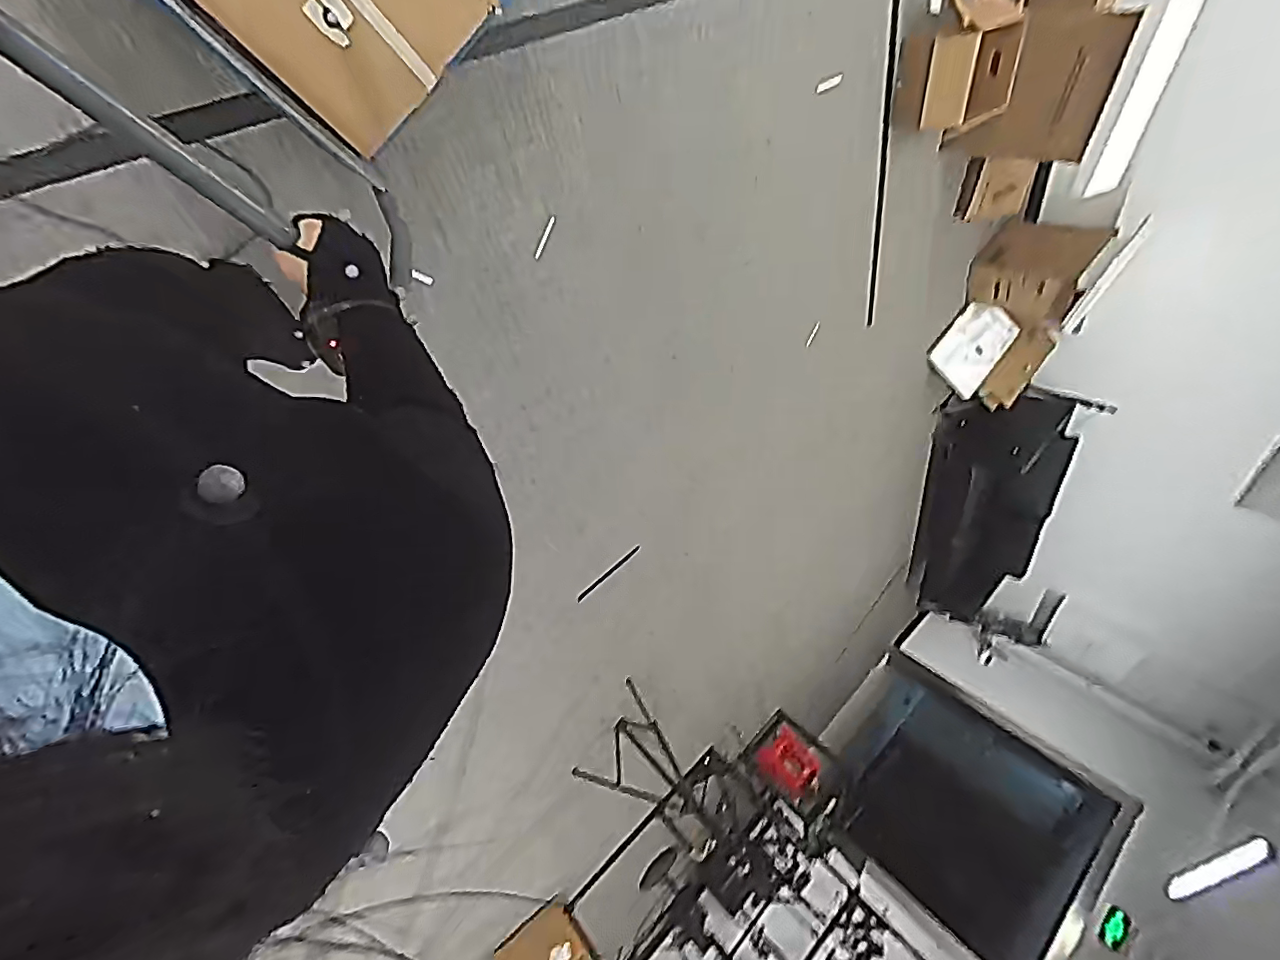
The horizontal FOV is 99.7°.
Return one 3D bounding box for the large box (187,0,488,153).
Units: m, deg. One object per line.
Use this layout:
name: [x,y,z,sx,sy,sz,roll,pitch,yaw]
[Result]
large box: [-0.511,-0.787,0.780,0.320,0.320,0.408,-43,142,8]
